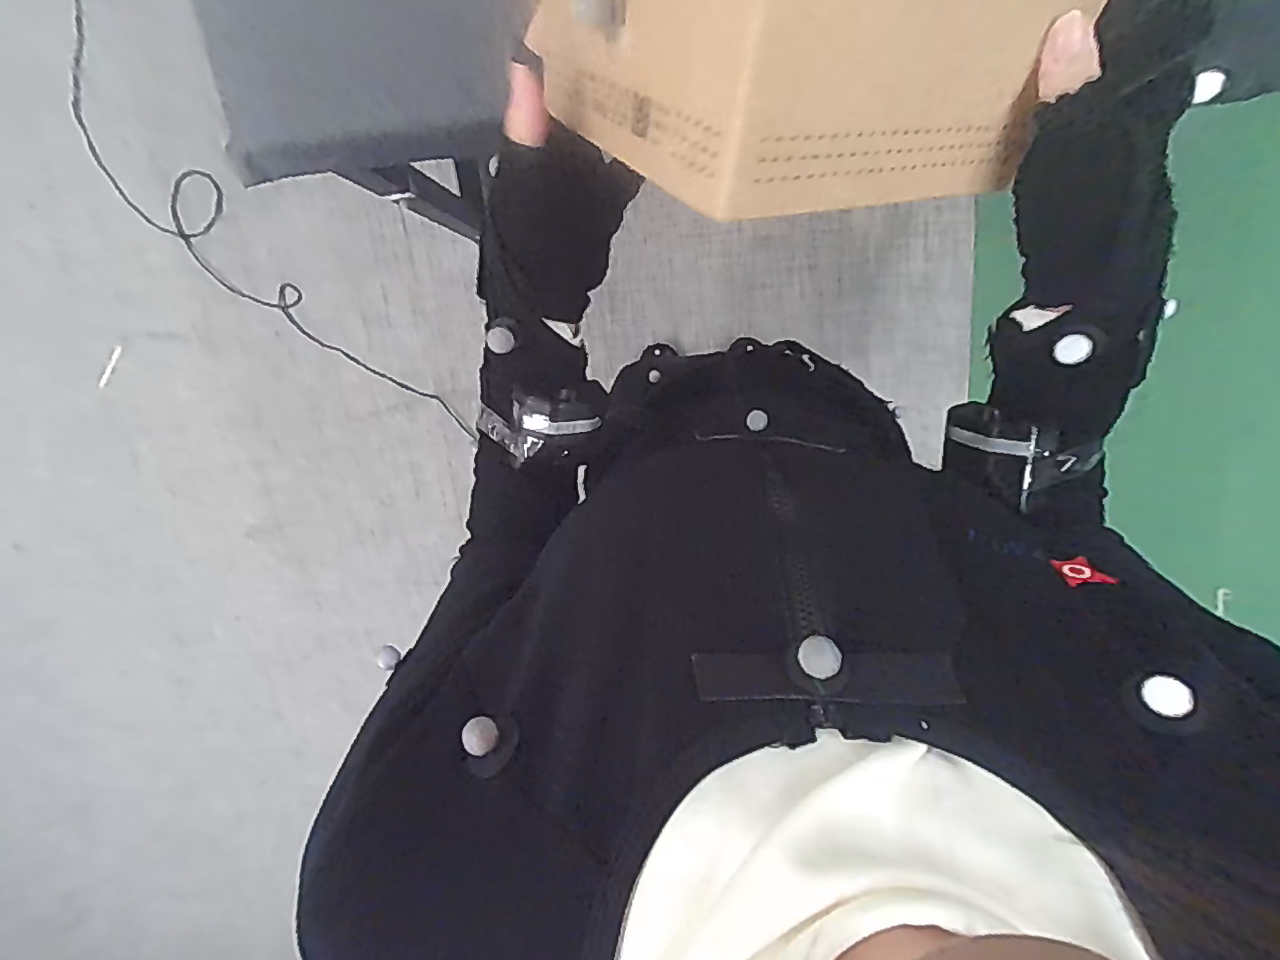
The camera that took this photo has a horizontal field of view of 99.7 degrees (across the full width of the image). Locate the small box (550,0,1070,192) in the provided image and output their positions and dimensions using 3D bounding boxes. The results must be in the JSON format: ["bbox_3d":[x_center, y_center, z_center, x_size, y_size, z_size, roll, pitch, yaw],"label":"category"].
[{"bbox_3d":[0.070,-0.236,0.219,0.179,0.168,0.176,-20,141,-25],"label":"small box"}]
